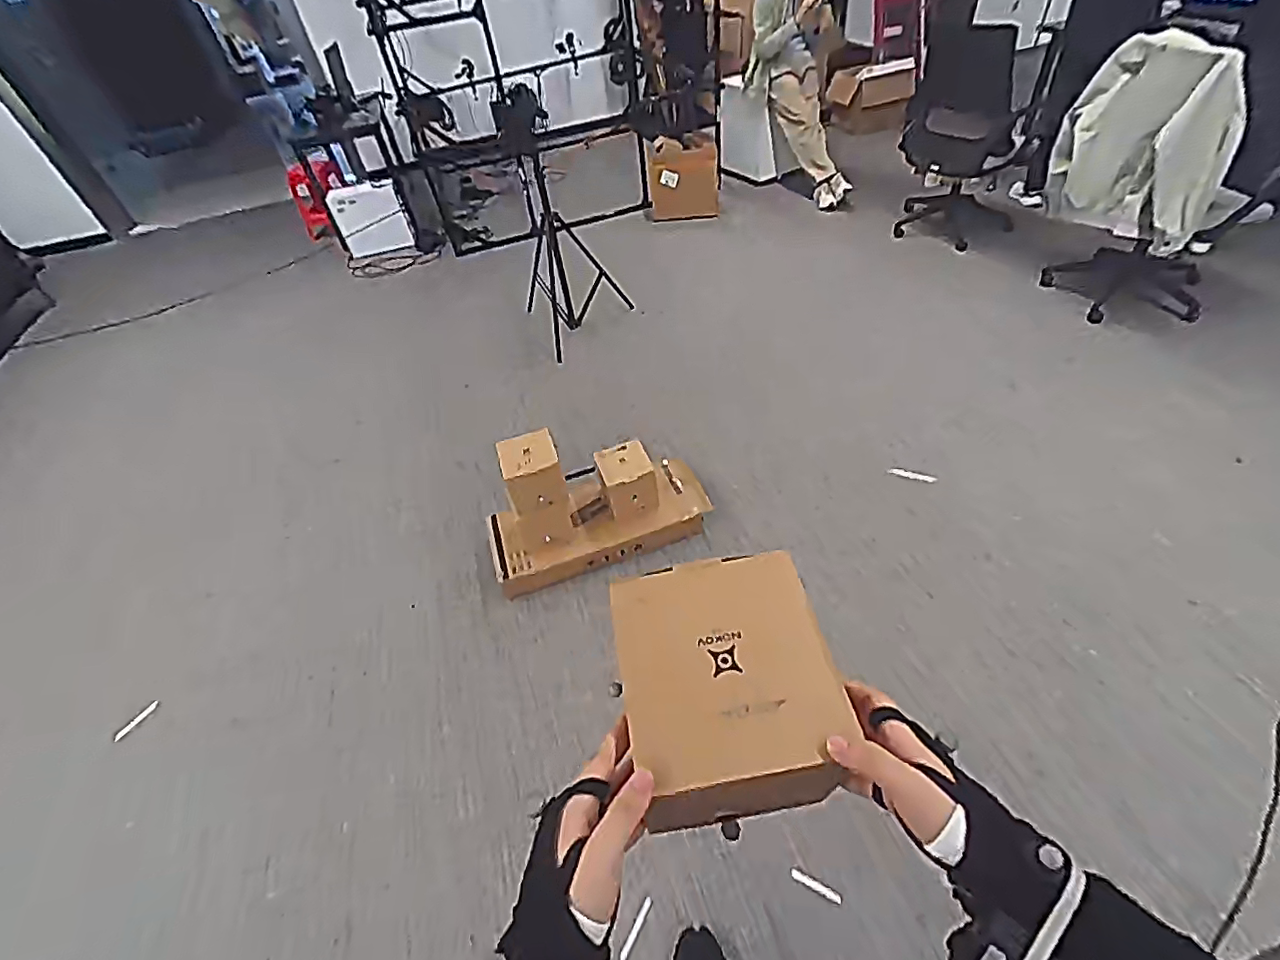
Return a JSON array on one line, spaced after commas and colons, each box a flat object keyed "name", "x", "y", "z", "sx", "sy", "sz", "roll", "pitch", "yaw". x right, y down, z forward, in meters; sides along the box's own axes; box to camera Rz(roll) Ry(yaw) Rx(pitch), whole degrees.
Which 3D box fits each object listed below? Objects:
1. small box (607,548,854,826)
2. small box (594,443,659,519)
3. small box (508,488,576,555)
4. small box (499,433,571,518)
[{"name": "small box", "x": 0.065, "y": 0.189, "z": 0.494, "sx": 0.168, "sy": 0.176, "sz": 0.179, "roll": -9, "pitch": 49, "yaw": -3}, {"name": "small box", "x": -0.043, "y": 0.012, "z": 1.824, "sx": 0.168, "sy": 0.176, "sz": 0.179, "roll": -19, "pitch": 46, "yaw": -10}, {"name": "small box", "x": -0.320, "y": 0.113, "z": 1.770, "sx": 0.168, "sy": 0.176, "sz": 0.179, "roll": -19, "pitch": 47, "yaw": -10}, {"name": "small box", "x": -0.323, "y": -0.013, "z": 1.661, "sx": 0.168, "sy": 0.176, "sz": 0.179, "roll": -18, "pitch": 46, "yaw": -9}]
